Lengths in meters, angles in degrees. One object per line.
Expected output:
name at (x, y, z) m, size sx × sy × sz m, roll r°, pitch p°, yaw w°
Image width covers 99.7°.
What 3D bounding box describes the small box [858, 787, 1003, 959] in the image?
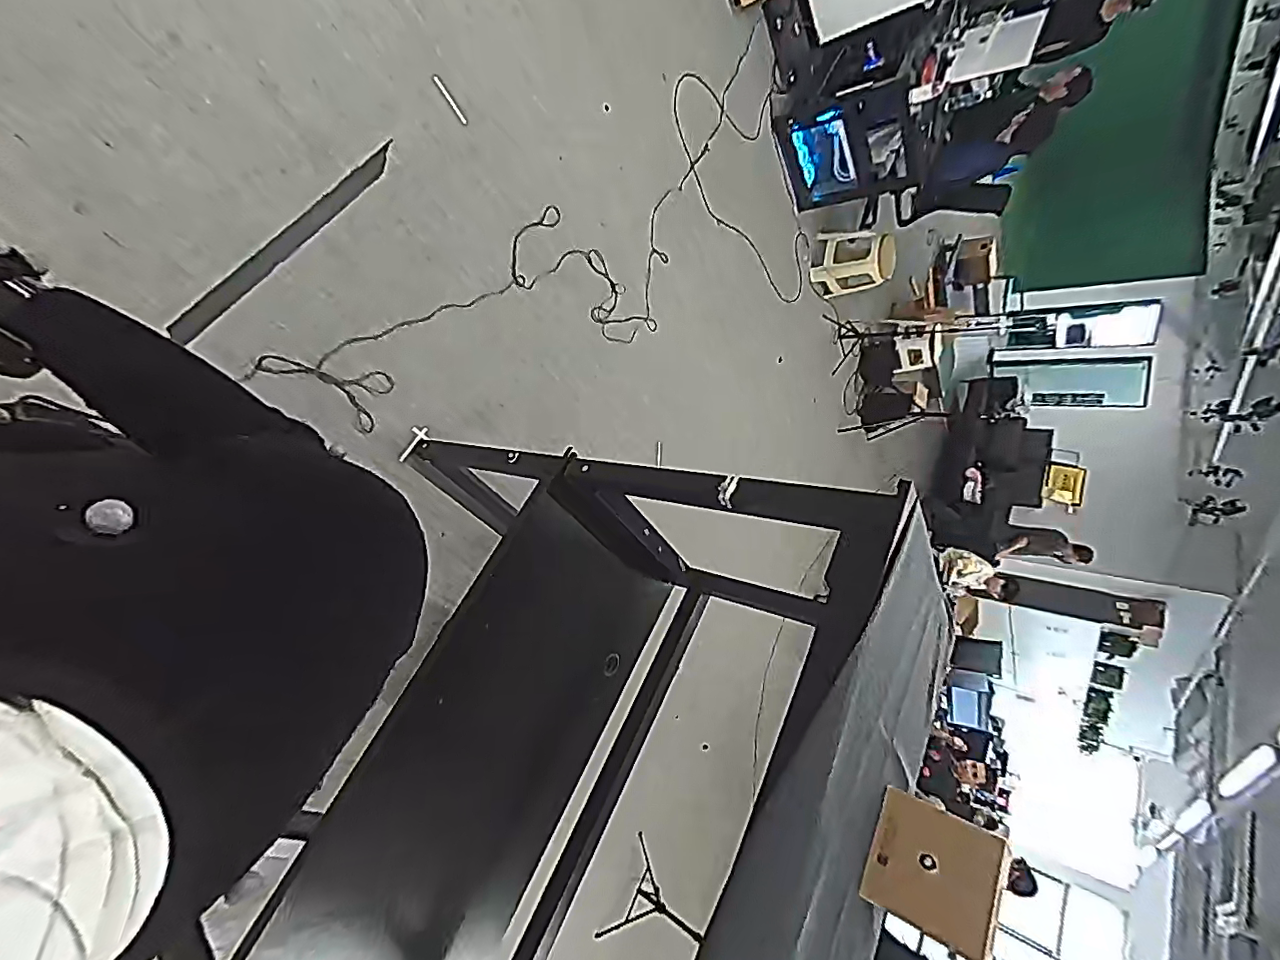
small box at (0.466, 0.623, 0.868) m, size 0.179 × 0.176 × 0.168 m, roll 50°, pitch 60°, yaw -42°
